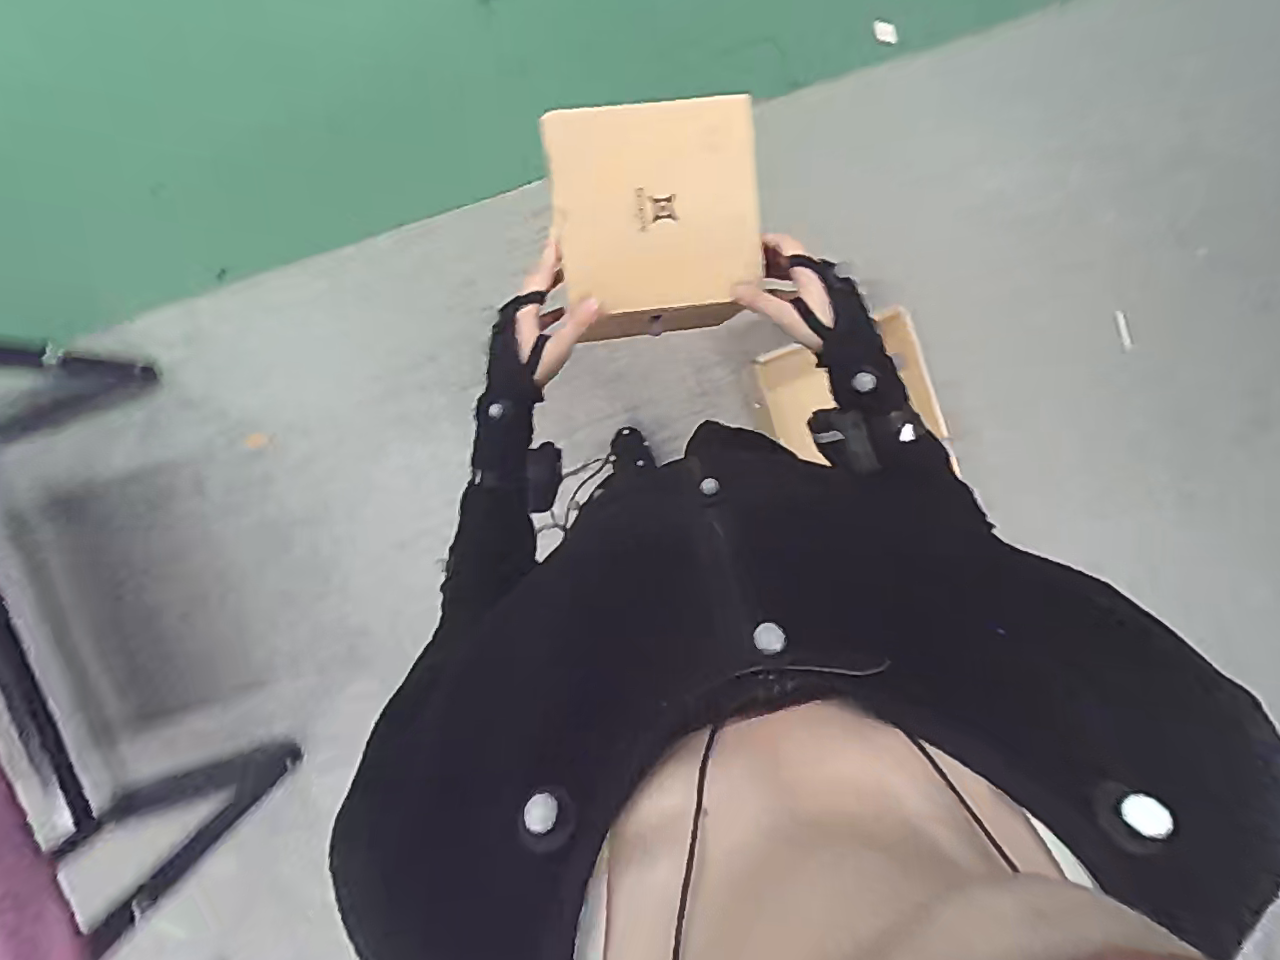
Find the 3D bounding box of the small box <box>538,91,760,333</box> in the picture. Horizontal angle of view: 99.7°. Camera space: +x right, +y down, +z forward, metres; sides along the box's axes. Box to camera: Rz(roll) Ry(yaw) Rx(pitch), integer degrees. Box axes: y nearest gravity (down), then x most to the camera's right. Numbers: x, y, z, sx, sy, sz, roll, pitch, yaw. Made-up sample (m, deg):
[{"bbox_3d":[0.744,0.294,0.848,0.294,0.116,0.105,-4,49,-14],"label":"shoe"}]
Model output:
[{"bbox_3d":[0.005,-0.246,0.536,0.179,0.176,0.168,-8,99,-2],"label":"small box"}]
